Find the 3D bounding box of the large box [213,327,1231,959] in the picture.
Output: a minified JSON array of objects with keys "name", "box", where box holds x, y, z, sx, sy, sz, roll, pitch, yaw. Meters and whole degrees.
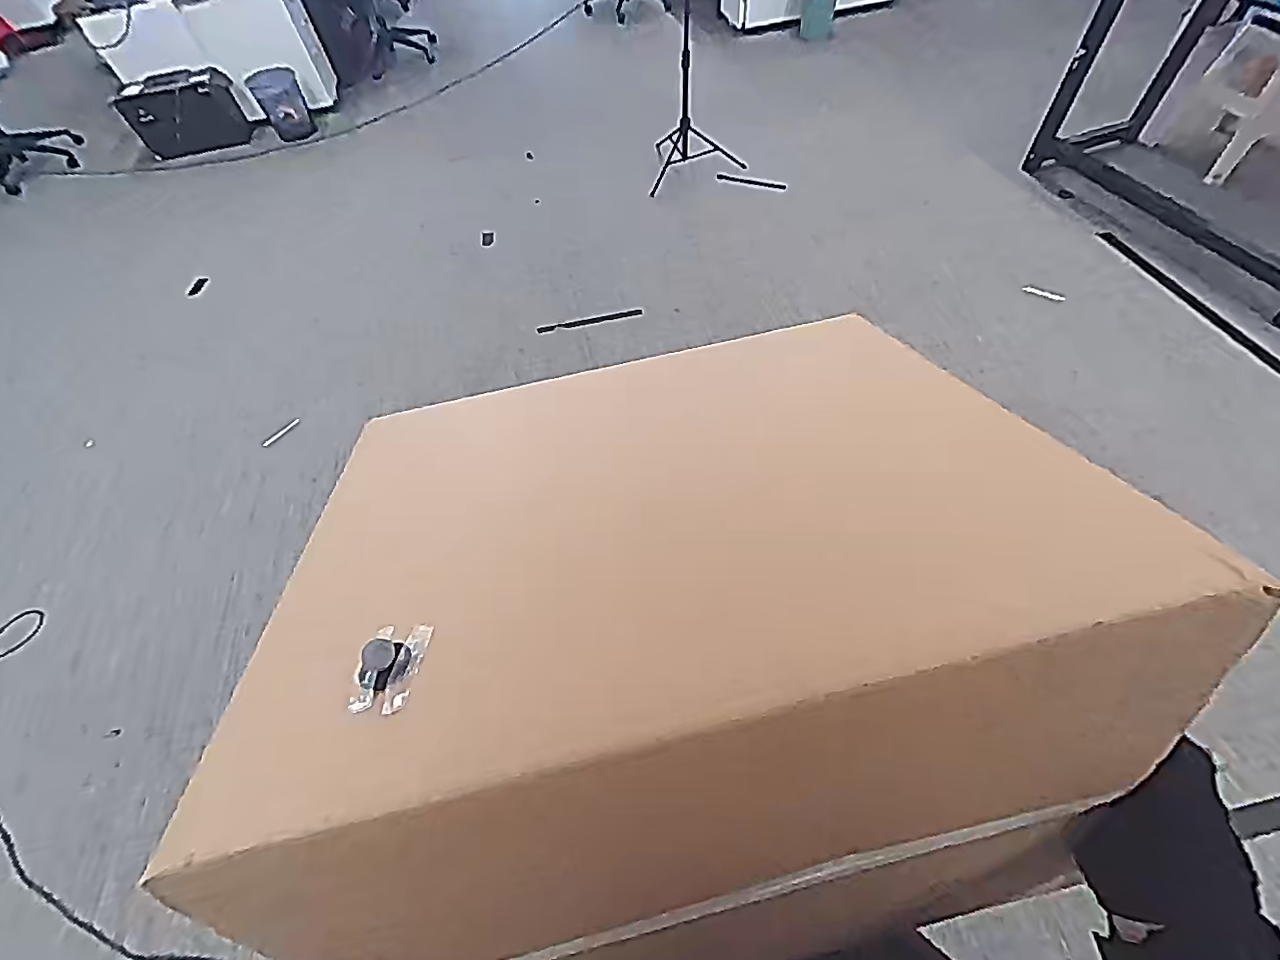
[{"name":"large box","box":[0.035,0.117,0.406,0.408,0.320,0.320,-13,36,-2]}]
